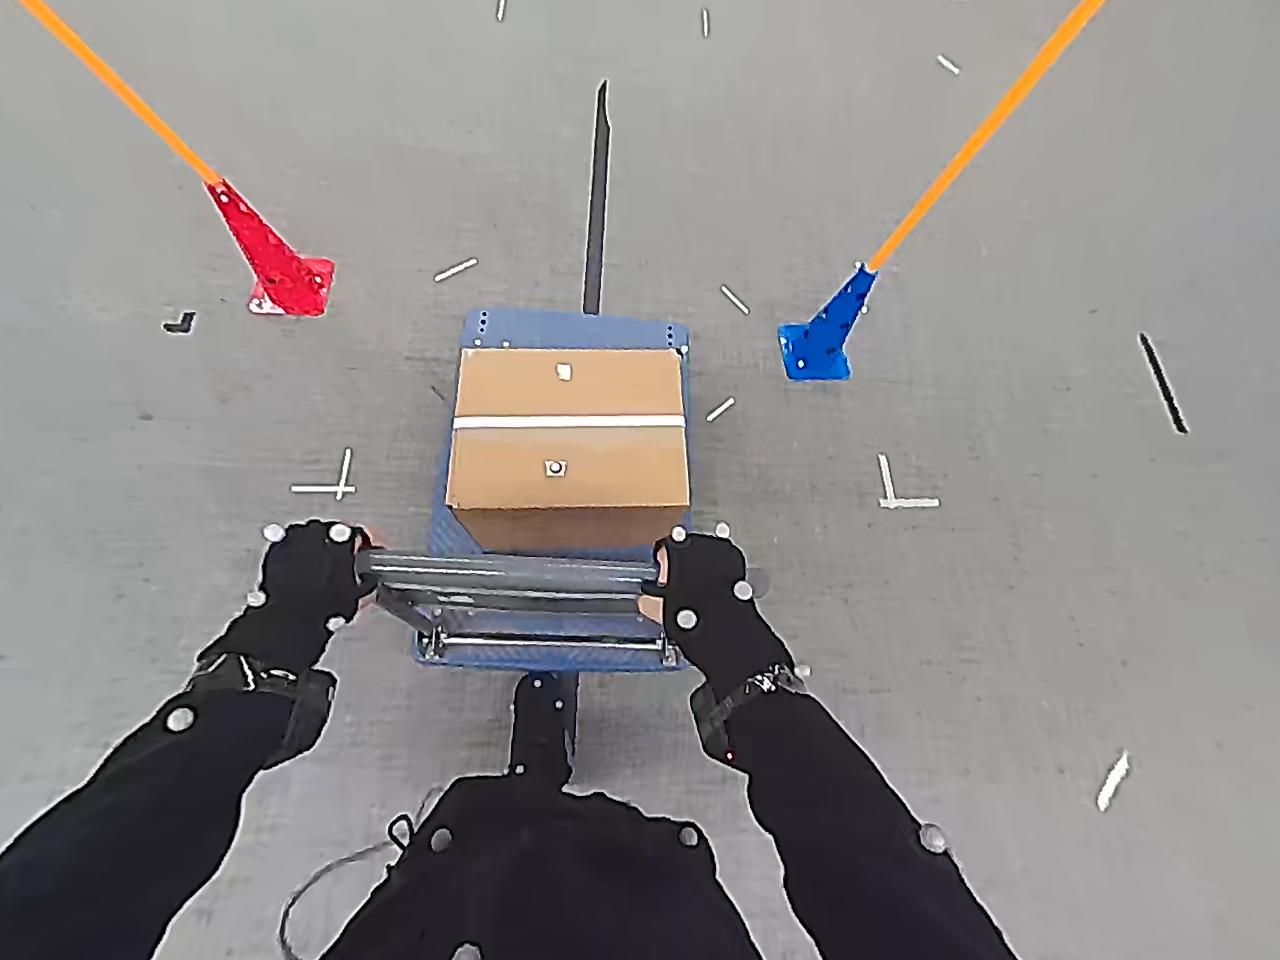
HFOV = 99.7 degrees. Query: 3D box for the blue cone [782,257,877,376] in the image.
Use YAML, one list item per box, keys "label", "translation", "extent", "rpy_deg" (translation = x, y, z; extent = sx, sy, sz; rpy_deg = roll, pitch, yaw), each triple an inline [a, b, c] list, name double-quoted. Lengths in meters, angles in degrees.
- label: "blue cone"
  translation: [0.550, -0.457, 1.494]
  extent: [0.193, 0.380, 0.192]
  rpy_deg: [-1, 69, -7]
